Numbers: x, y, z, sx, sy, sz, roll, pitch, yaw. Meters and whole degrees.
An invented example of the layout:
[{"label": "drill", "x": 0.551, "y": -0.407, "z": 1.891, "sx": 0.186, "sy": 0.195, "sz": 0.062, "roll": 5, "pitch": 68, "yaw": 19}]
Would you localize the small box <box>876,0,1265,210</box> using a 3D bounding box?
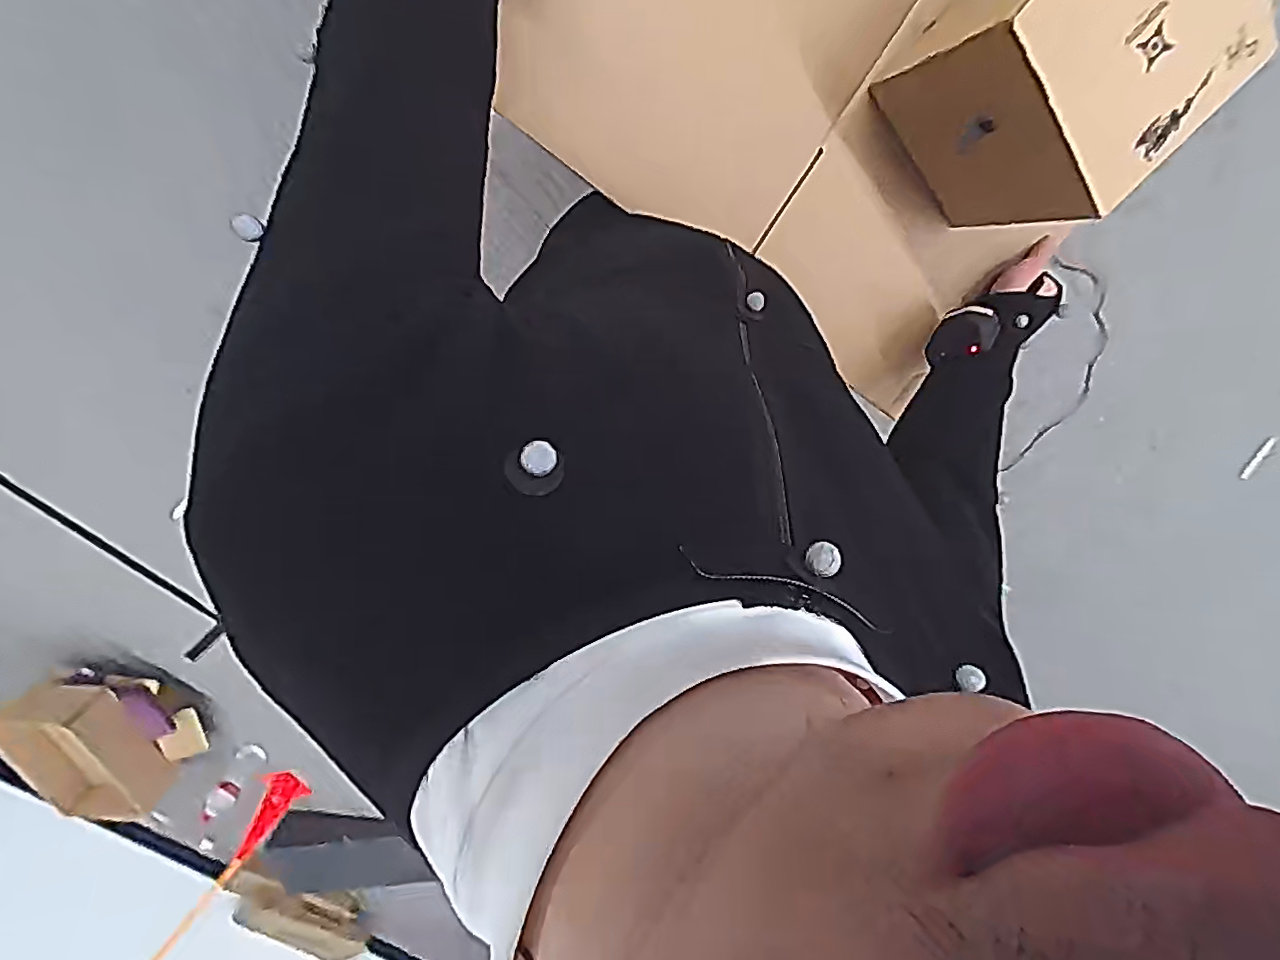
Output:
[{"label": "small box", "x": 0.345, "y": -0.360, "z": 0.465, "sx": 0.179, "sy": 0.176, "sz": 0.168, "roll": 40, "pitch": 100, "yaw": -22}]
